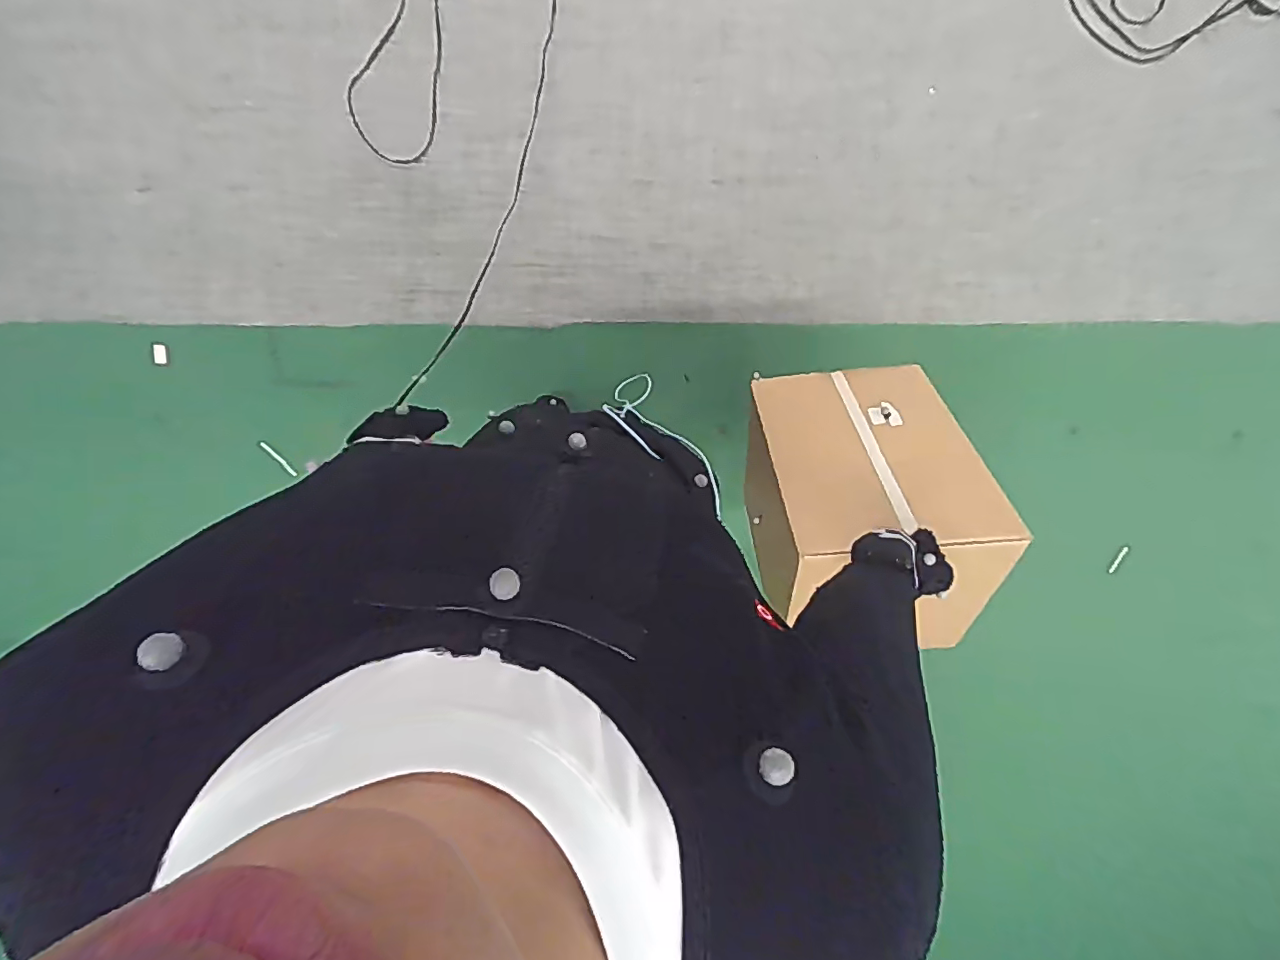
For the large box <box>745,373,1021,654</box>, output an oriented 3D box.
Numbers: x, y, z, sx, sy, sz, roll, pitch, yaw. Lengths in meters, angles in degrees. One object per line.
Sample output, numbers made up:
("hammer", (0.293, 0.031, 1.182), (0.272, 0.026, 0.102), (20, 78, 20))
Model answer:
("large box", (0.382, 0.056, 0.991), (0.320, 0.408, 0.320), (-4, 136, 2))
